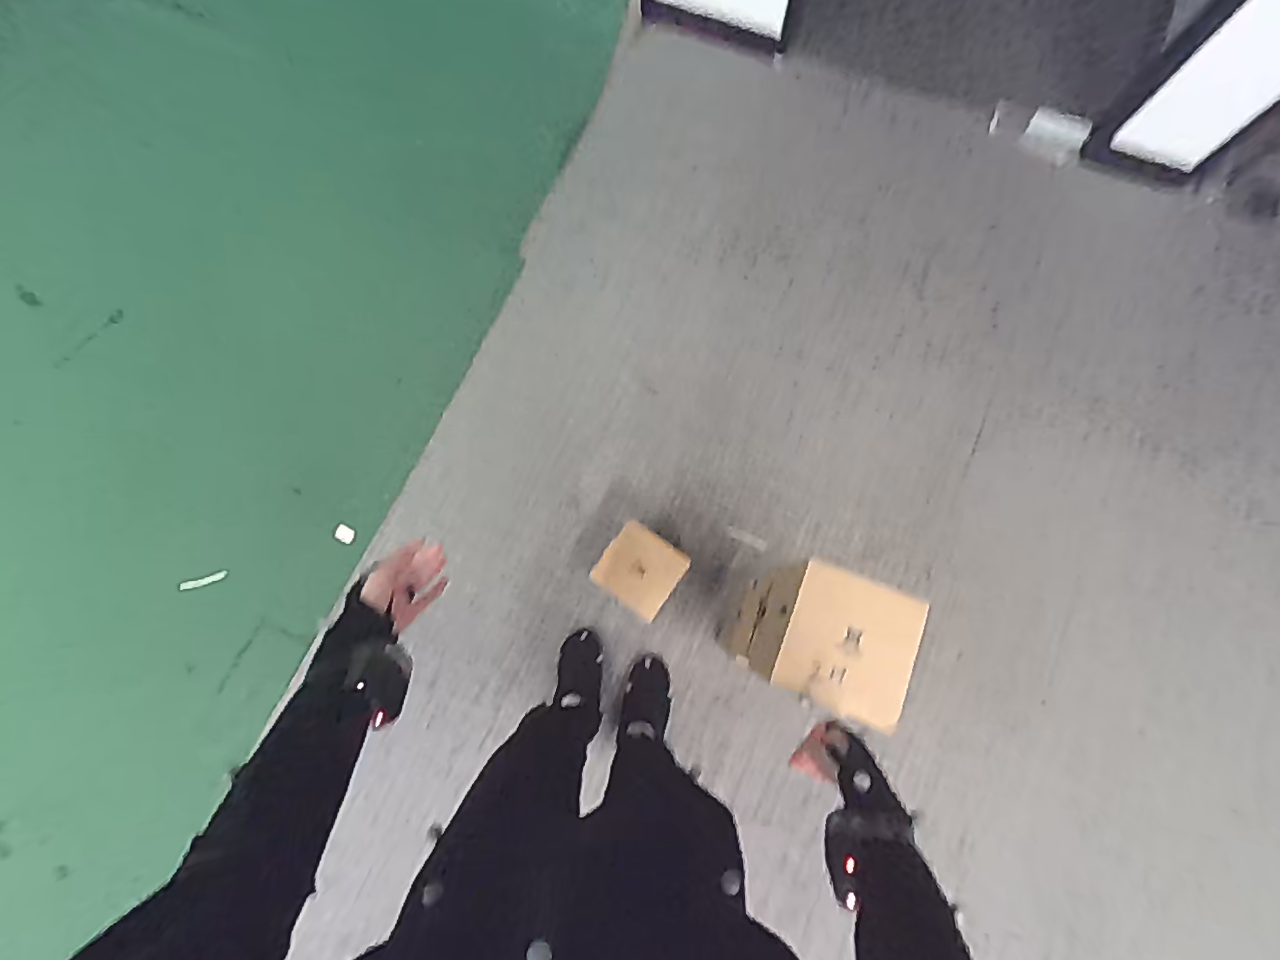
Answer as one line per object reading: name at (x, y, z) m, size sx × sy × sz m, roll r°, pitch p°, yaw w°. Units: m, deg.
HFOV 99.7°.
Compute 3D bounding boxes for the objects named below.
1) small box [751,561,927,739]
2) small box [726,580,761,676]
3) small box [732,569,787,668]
small box at (0.269, 0.233, 0.771) m, size 0.168 × 0.176 × 0.179 m, roll 21°, pitch 78°, yaw 7°
small box at (0.281, 0.315, 1.089) m, size 0.168 × 0.176 × 0.179 m, roll 22°, pitch 79°, yaw 6°
small box at (0.271, 0.269, 0.931) m, size 0.179 × 0.176 × 0.168 m, roll 23°, pitch 78°, yaw 6°
